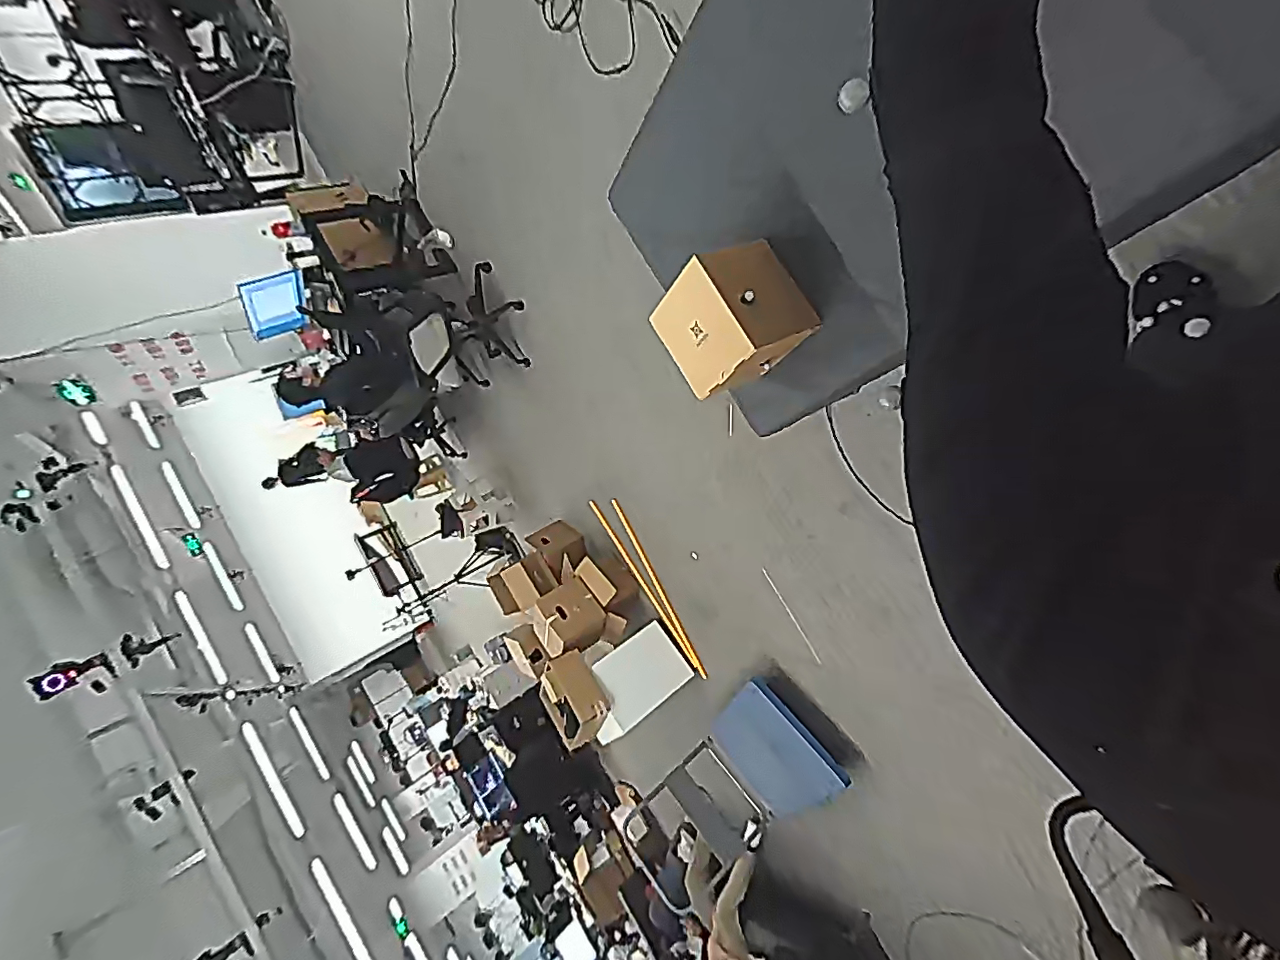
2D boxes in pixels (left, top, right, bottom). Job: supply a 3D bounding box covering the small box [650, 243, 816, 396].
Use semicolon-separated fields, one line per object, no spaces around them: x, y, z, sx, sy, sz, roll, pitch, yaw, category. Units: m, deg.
0.155;-0.273;0.907;0.179;0.176;0.168;58;148;6;small box
